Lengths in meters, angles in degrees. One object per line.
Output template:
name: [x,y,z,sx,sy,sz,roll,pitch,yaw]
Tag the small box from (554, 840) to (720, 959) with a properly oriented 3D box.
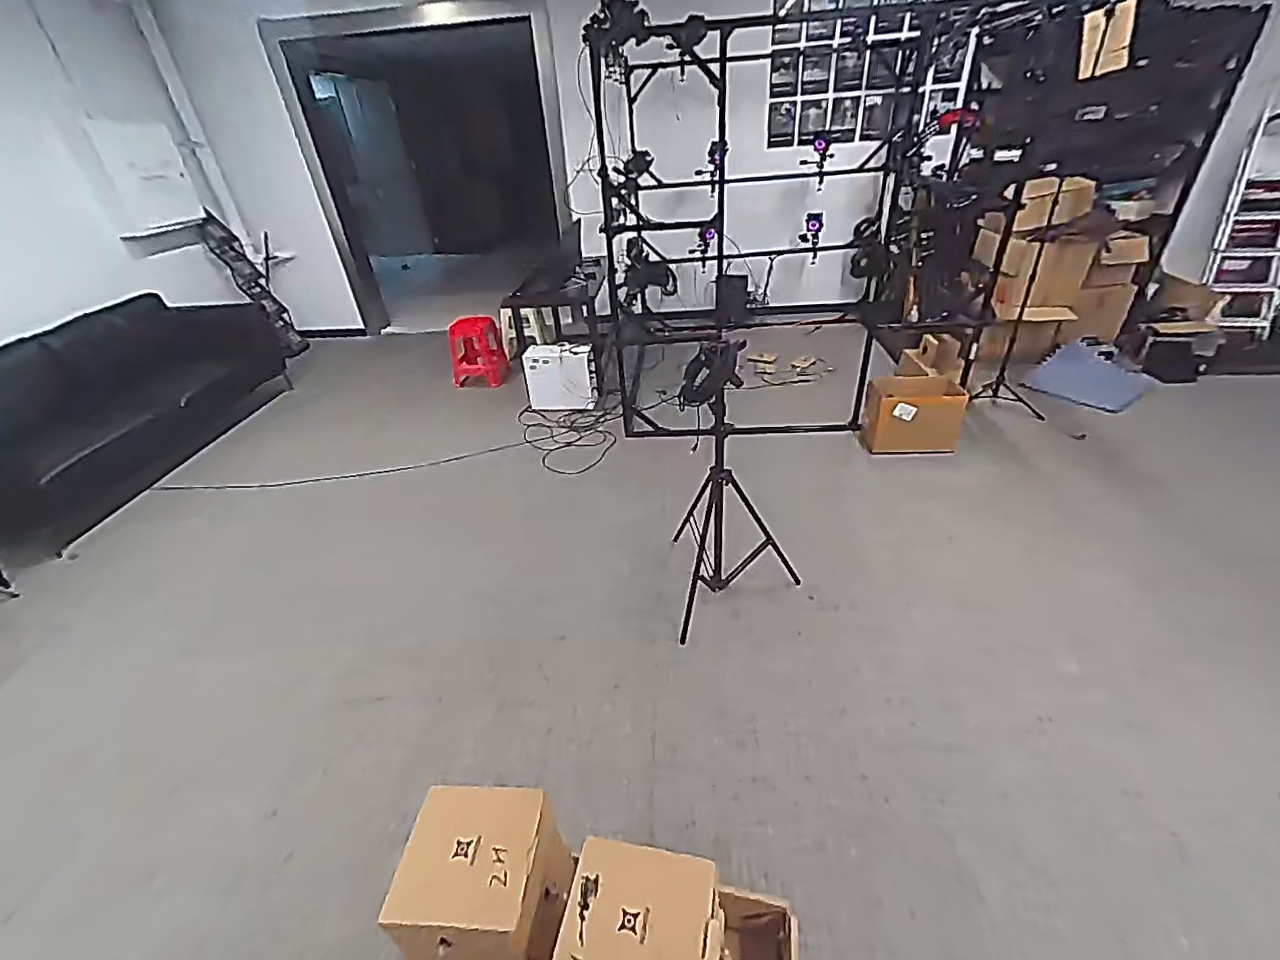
small box: [0.002,0.588,0.667,0.179,0.176,0.168,4,33,13]
